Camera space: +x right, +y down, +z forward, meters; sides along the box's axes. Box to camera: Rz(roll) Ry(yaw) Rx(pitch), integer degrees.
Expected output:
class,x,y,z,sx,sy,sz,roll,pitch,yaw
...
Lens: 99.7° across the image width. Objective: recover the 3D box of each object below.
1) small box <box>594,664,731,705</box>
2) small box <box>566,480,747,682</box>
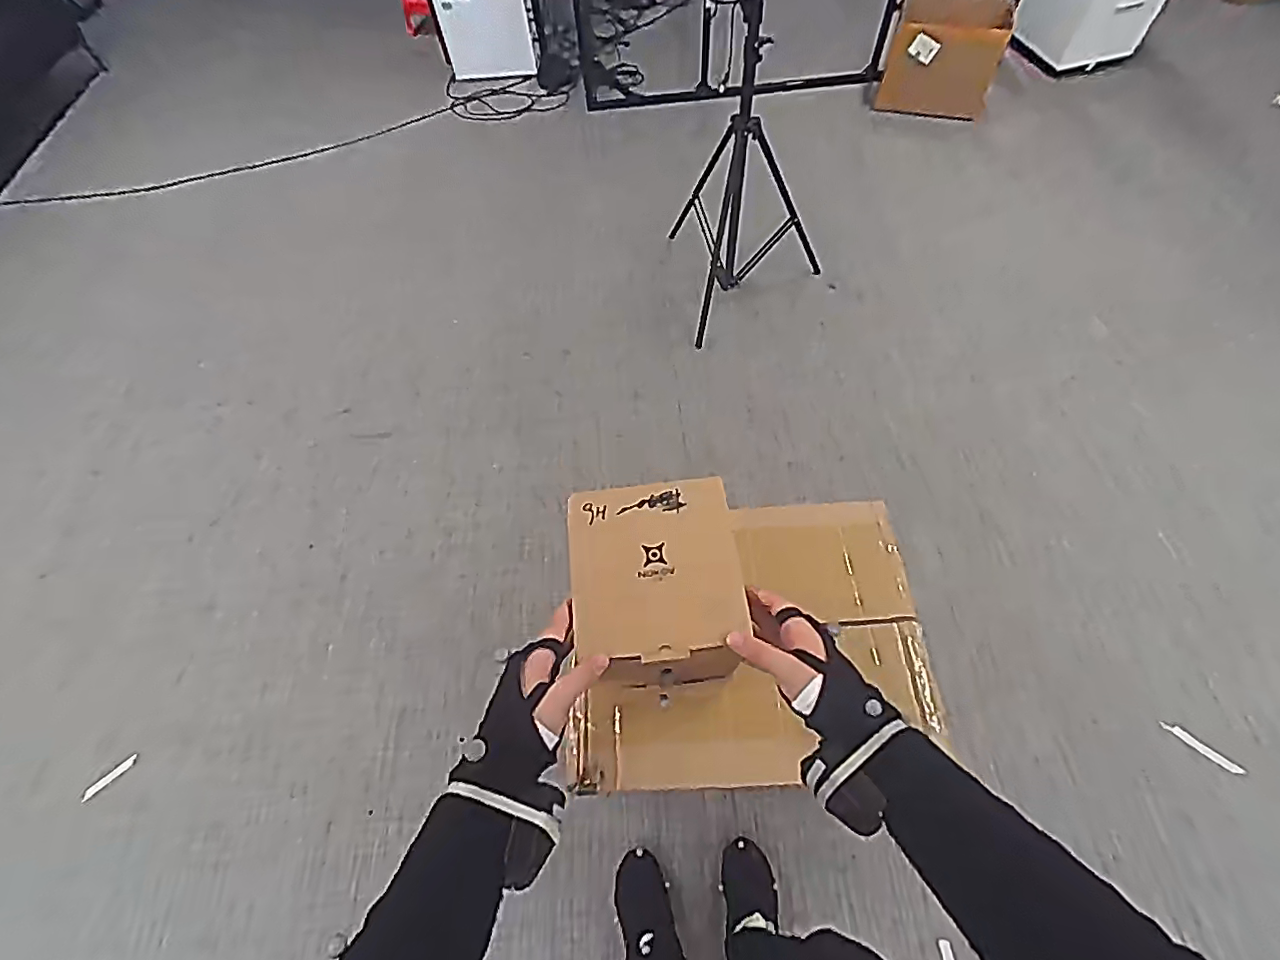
class,x,y,z,sx,sy,sz,roll,pitch,yaw
small box,0.024,0.201,0.744,0.168,0.176,0.179,-5,61,0
small box,0.015,0.121,0.601,0.168,0.176,0.179,-6,62,-1
